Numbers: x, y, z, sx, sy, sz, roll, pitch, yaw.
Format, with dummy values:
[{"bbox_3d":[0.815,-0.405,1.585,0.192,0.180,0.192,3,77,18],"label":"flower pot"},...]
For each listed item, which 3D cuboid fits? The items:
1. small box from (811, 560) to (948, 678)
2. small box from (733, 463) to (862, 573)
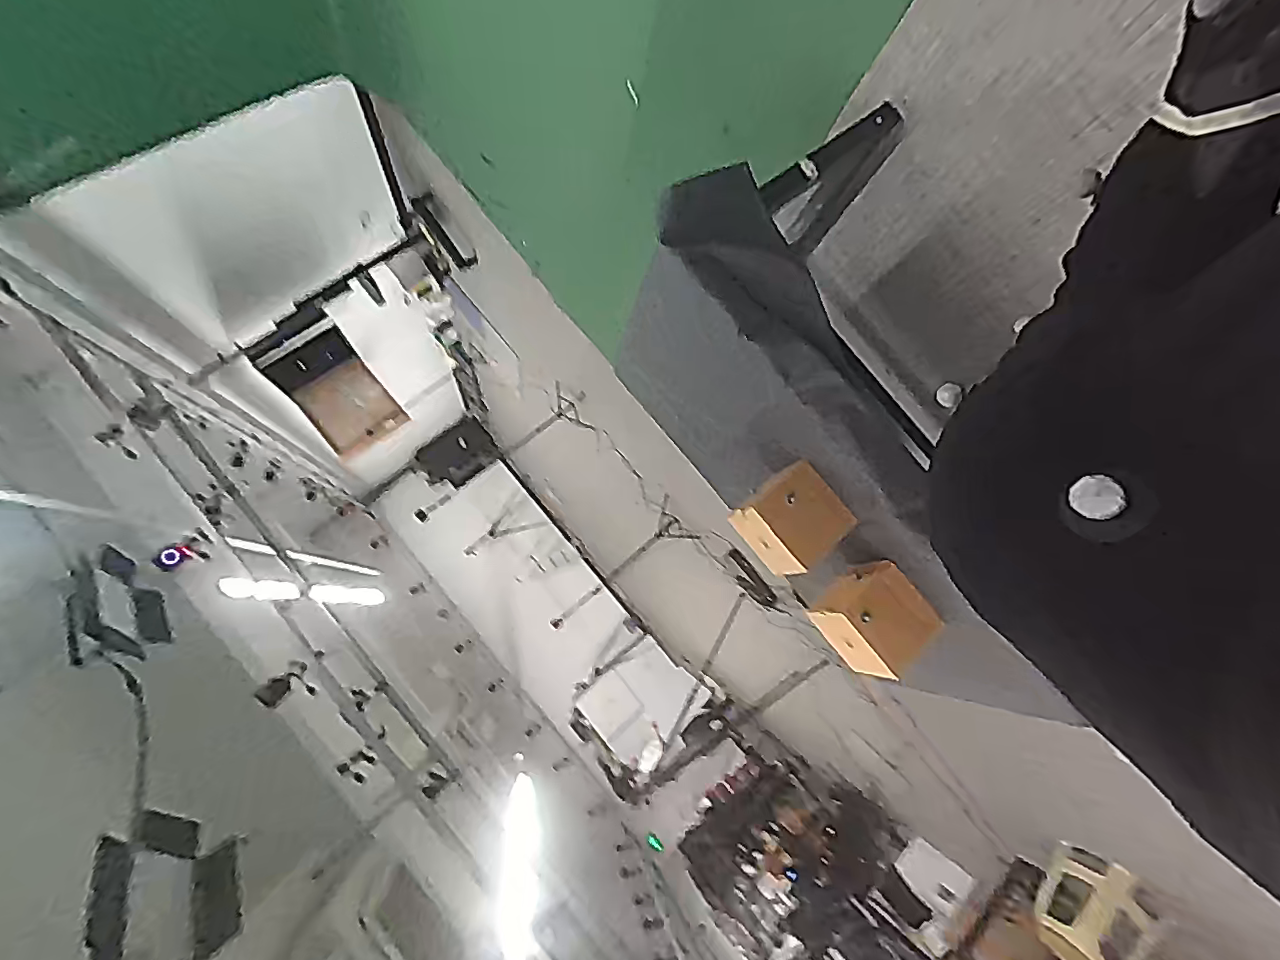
[{"bbox_3d":[0.521,0.298,1.180,0.179,0.176,0.168,51,164,4],"label":"small box"},{"bbox_3d":[0.343,0.081,1.192,0.179,0.176,0.168,49,165,3],"label":"small box"}]
